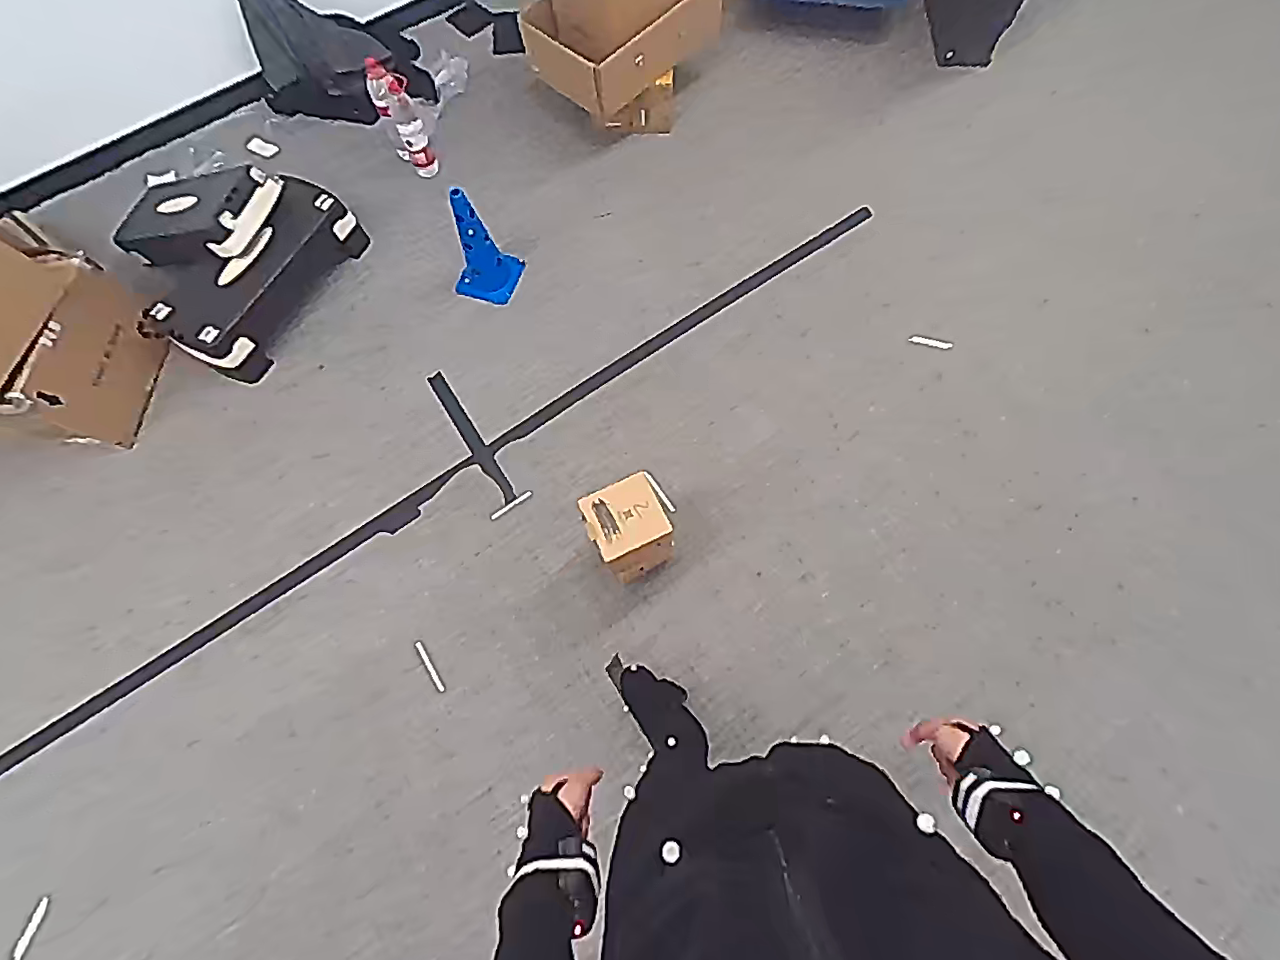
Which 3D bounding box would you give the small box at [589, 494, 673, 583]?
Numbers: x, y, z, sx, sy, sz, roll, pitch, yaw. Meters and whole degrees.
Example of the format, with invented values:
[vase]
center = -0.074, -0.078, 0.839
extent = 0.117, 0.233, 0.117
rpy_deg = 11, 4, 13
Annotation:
[small box]
center = -0.022, 0.170, 1.488
extent = 0.168, 0.176, 0.179
rpy_deg = -30, 72, -8
